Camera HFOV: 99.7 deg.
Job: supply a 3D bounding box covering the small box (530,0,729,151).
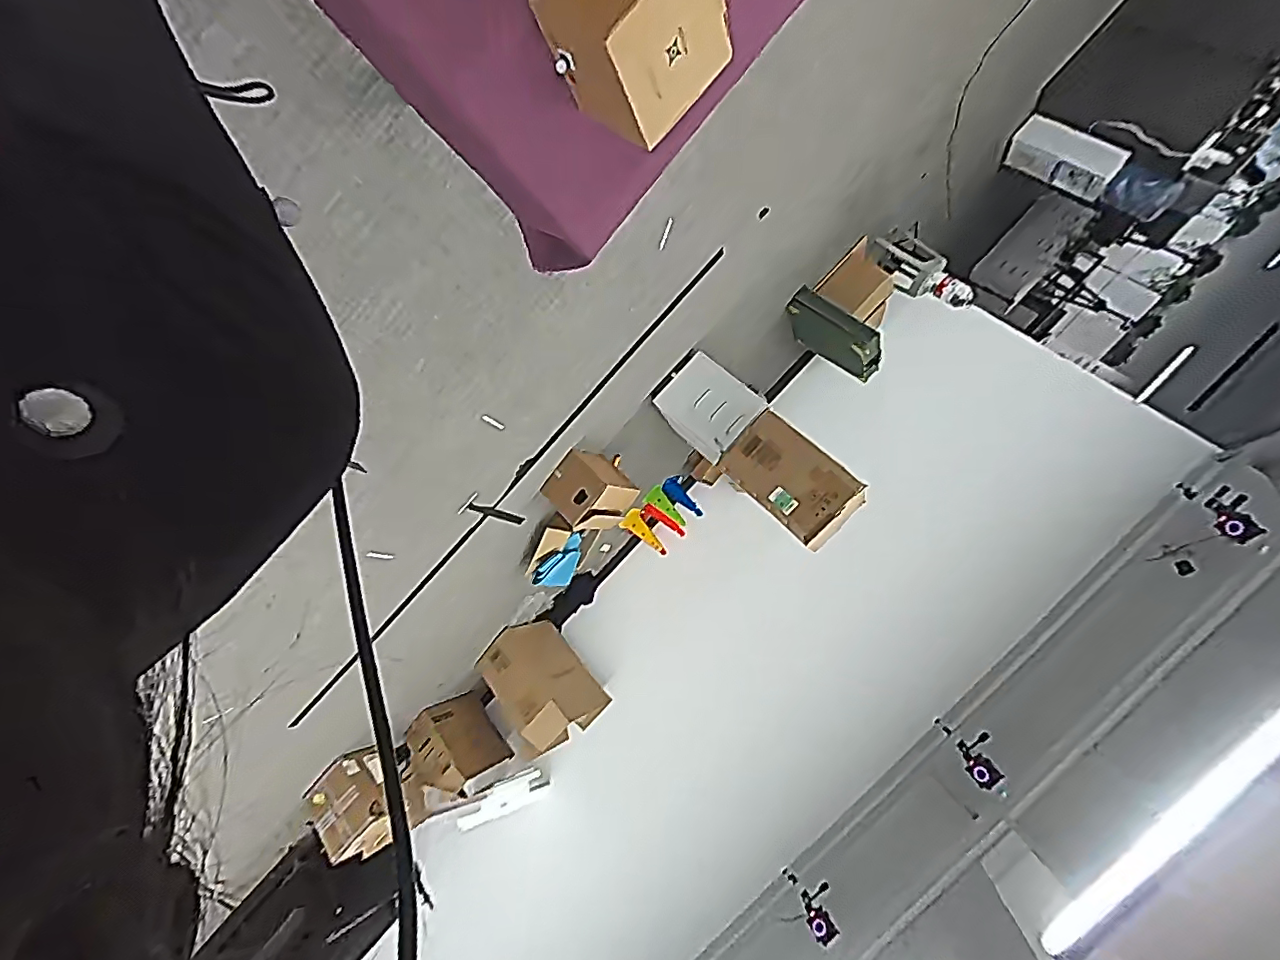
[{"bbox_3d":[-0.011,-0.602,0.725,0.179,0.176,0.168,-46,156,4],"label":"small box"}]
